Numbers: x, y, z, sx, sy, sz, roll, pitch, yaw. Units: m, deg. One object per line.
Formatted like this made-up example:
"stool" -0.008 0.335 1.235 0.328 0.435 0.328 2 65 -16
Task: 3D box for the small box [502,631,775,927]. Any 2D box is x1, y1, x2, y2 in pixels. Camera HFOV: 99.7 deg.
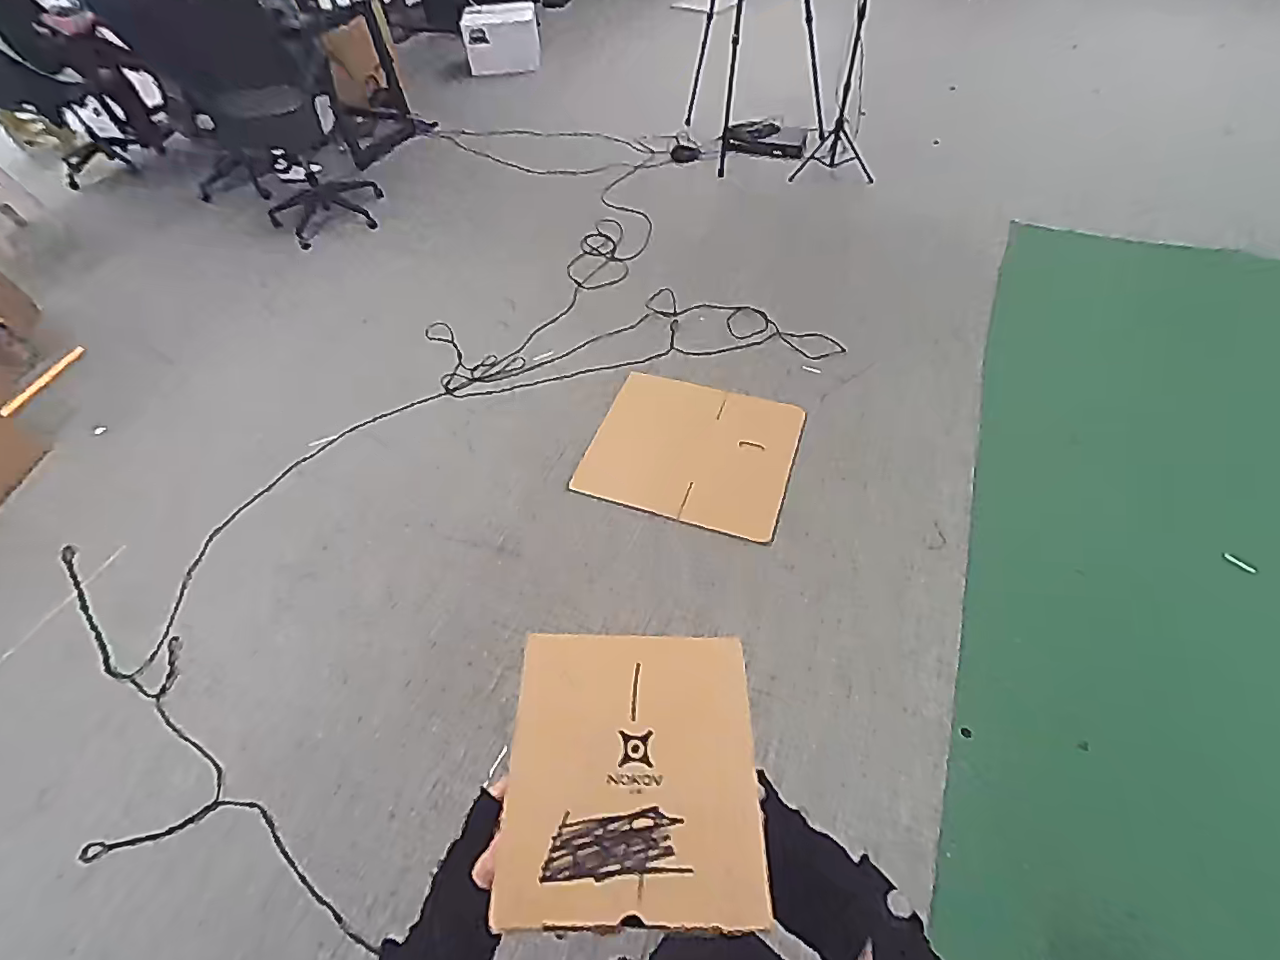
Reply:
"small box" -0.002 0.234 0.429 0.168 0.176 0.179 2 54 -2
